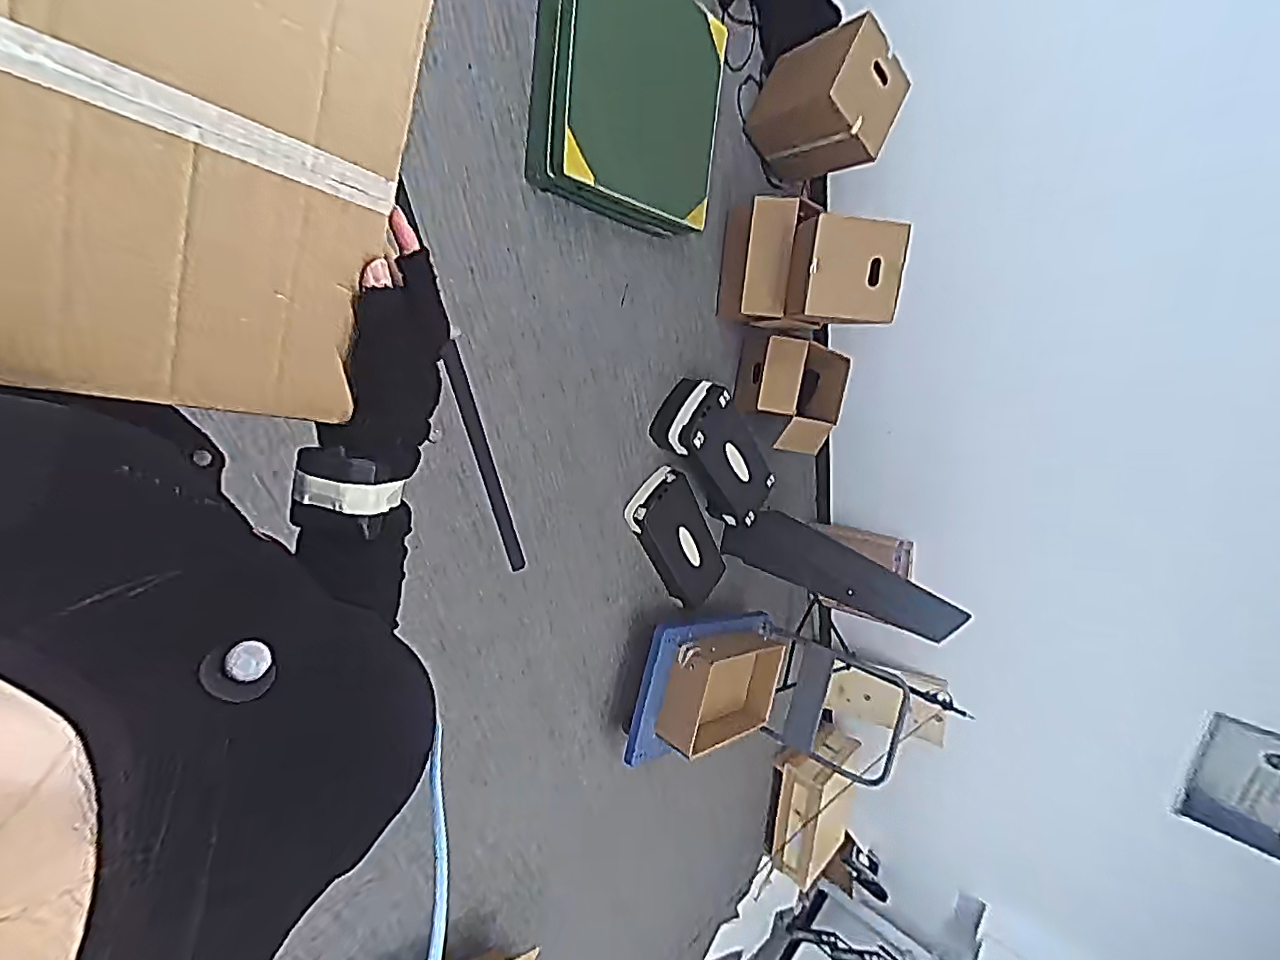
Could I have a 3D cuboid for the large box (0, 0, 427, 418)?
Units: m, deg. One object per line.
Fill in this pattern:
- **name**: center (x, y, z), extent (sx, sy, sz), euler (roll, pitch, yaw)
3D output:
- **large box**: center (-0.405, -0.251, 0.327), extent (0.408, 0.320, 0.320), euler (4, 112, -44)
